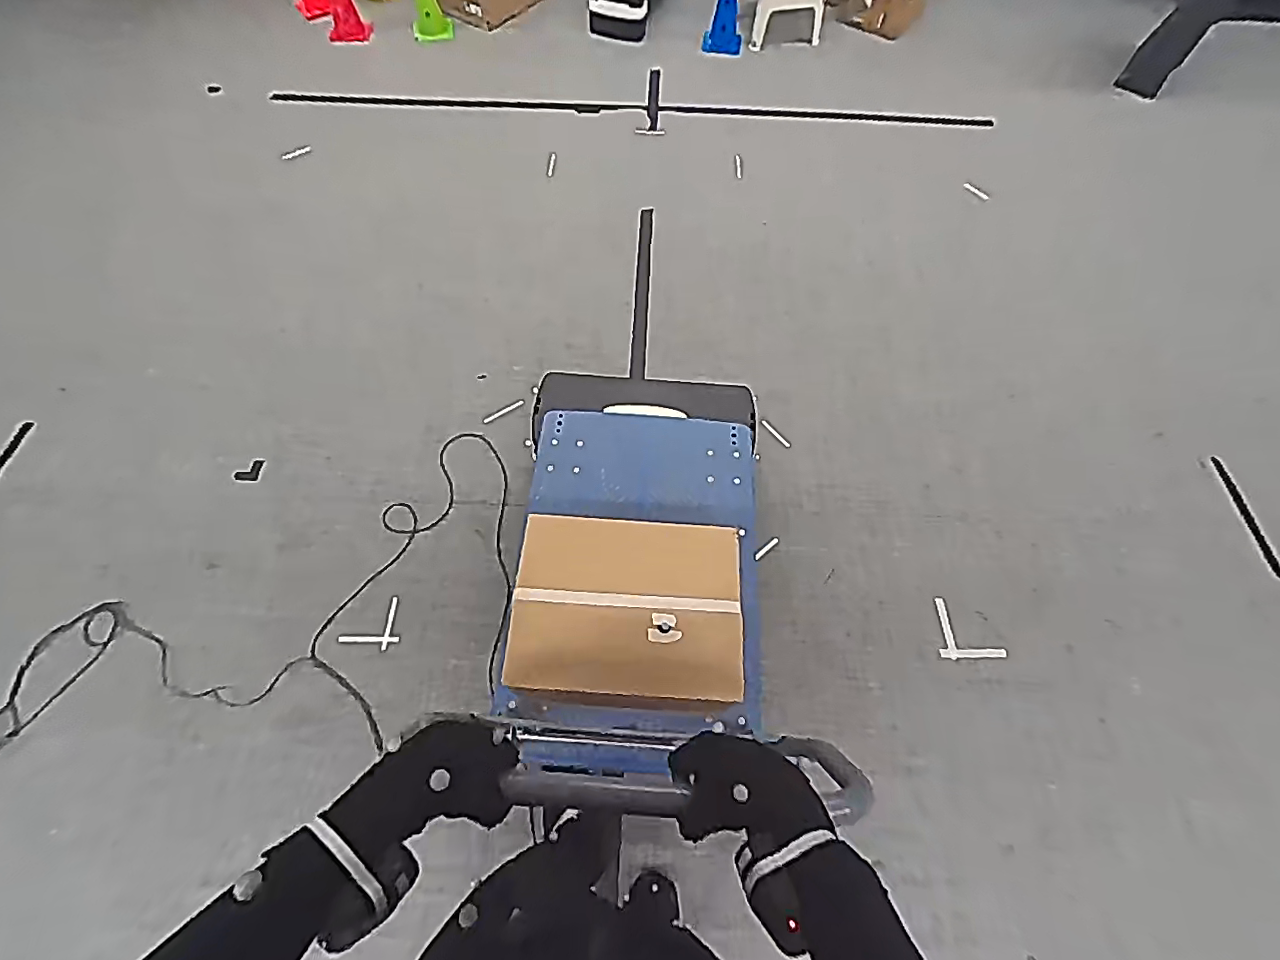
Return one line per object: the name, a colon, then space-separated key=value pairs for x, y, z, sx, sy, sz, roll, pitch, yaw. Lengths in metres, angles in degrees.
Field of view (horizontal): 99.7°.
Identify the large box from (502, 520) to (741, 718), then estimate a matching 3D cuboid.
large box: x=-0.033 y=0.291 z=1.087 sx=0.408 sy=0.320 sz=0.320 roll=4 pitch=63 yaw=-1
